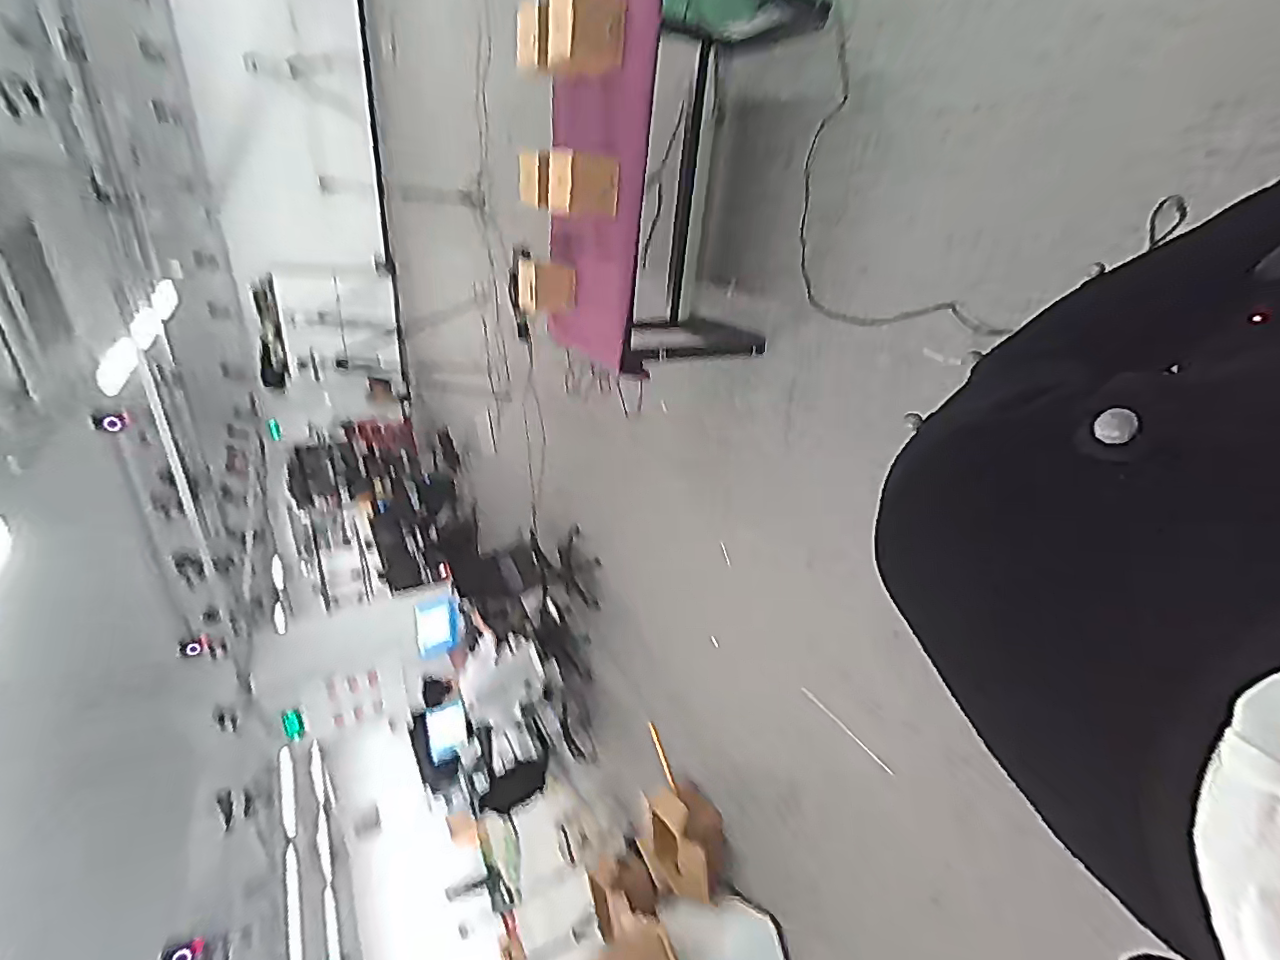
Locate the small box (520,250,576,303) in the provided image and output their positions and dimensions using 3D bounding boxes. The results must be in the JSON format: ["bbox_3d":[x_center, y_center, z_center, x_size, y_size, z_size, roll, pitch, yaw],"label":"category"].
[{"bbox_3d":[-0.358,-0.792,2.102,0.179,0.176,0.168,41,132,48],"label":"small box"}]

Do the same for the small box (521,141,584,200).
[{"bbox_3d":[-0.315,-1.106,1.935,0.179,0.176,0.168,41,133,46],"label":"small box"}]

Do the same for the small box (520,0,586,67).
[{"bbox_3d":[-0.278,-1.465,1.756,0.179,0.176,0.168,40,133,47],"label":"small box"}]

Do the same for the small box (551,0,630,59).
[{"bbox_3d":[-0.146,-1.342,1.566,0.179,0.176,0.168,44,136,47],"label":"small box"}]
